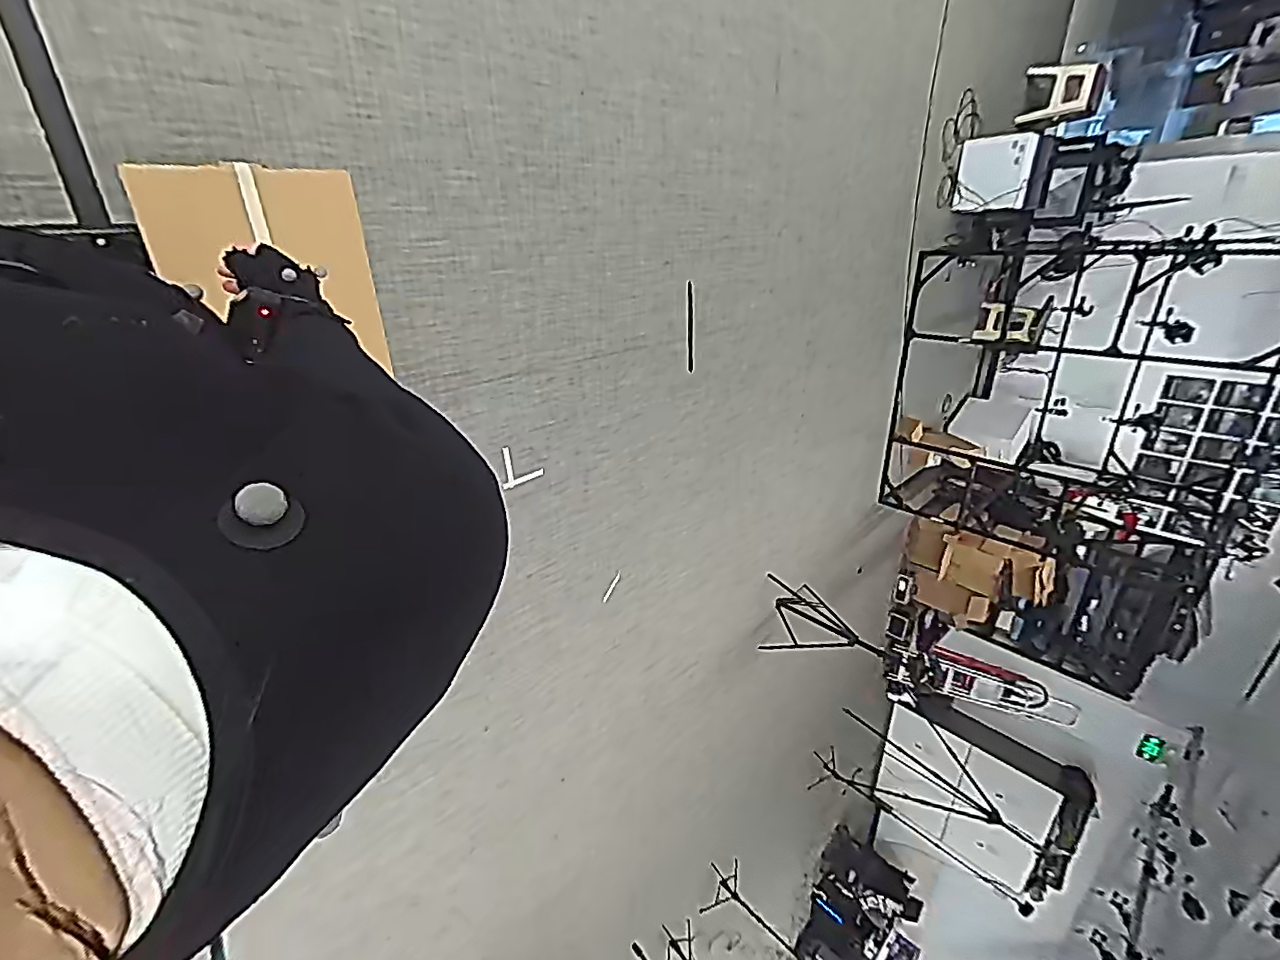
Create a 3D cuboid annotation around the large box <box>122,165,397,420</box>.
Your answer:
[{"bbox_3d":[-0.719,-0.376,1.058,0.320,0.320,0.408,-18,121,-32],"label":"large box"}]
